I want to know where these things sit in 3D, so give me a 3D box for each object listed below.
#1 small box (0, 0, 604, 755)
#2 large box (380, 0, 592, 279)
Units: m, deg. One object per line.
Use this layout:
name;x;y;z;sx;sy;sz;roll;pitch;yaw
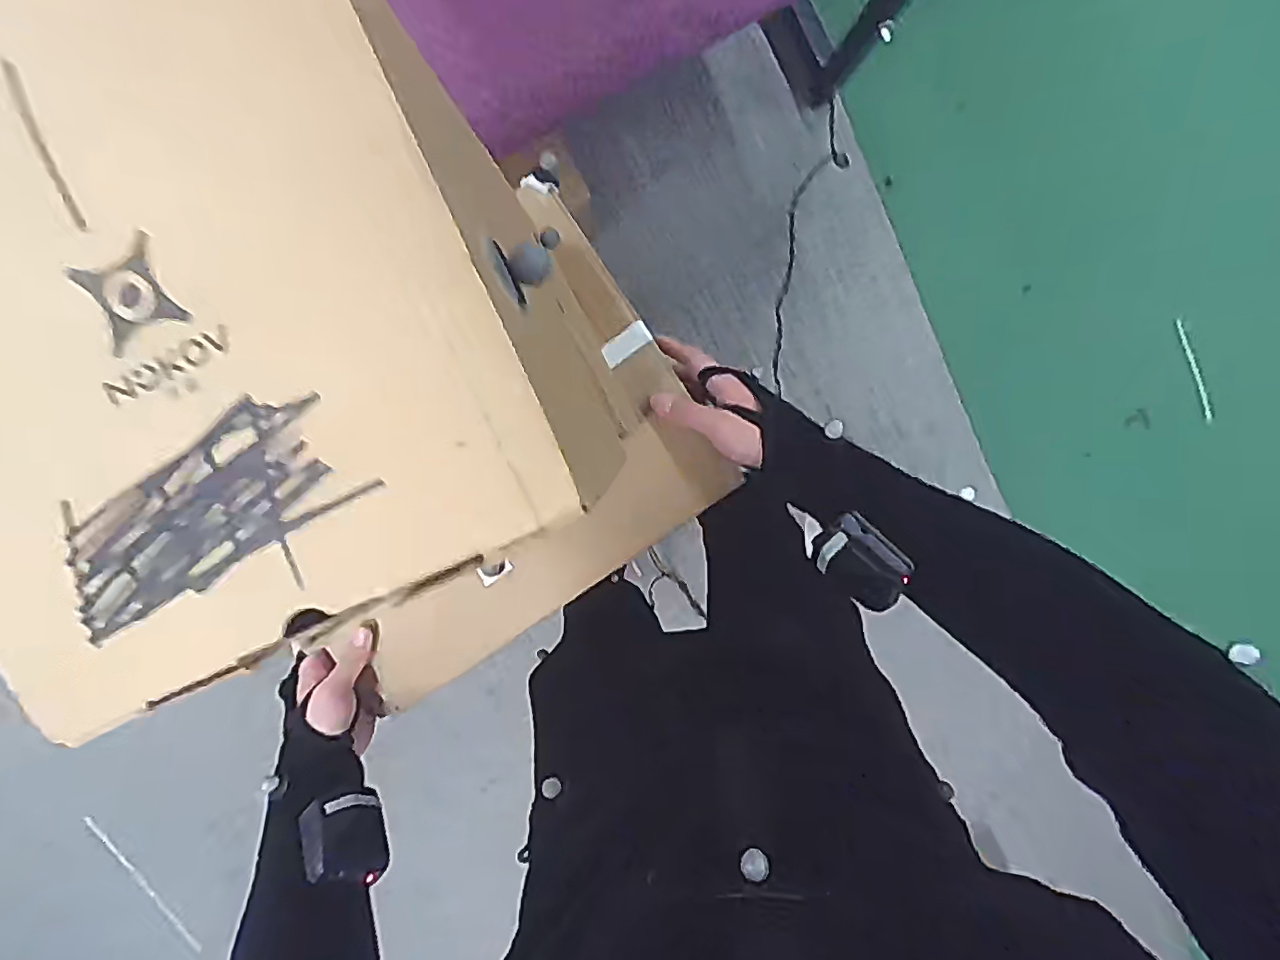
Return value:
small box;-0.124;-0.045;0.208;0.168;0.176;0.179;-25;95;5
large box;-0.330;-0.648;1.138;0.320;0.320;0.408;-29;98;-2
